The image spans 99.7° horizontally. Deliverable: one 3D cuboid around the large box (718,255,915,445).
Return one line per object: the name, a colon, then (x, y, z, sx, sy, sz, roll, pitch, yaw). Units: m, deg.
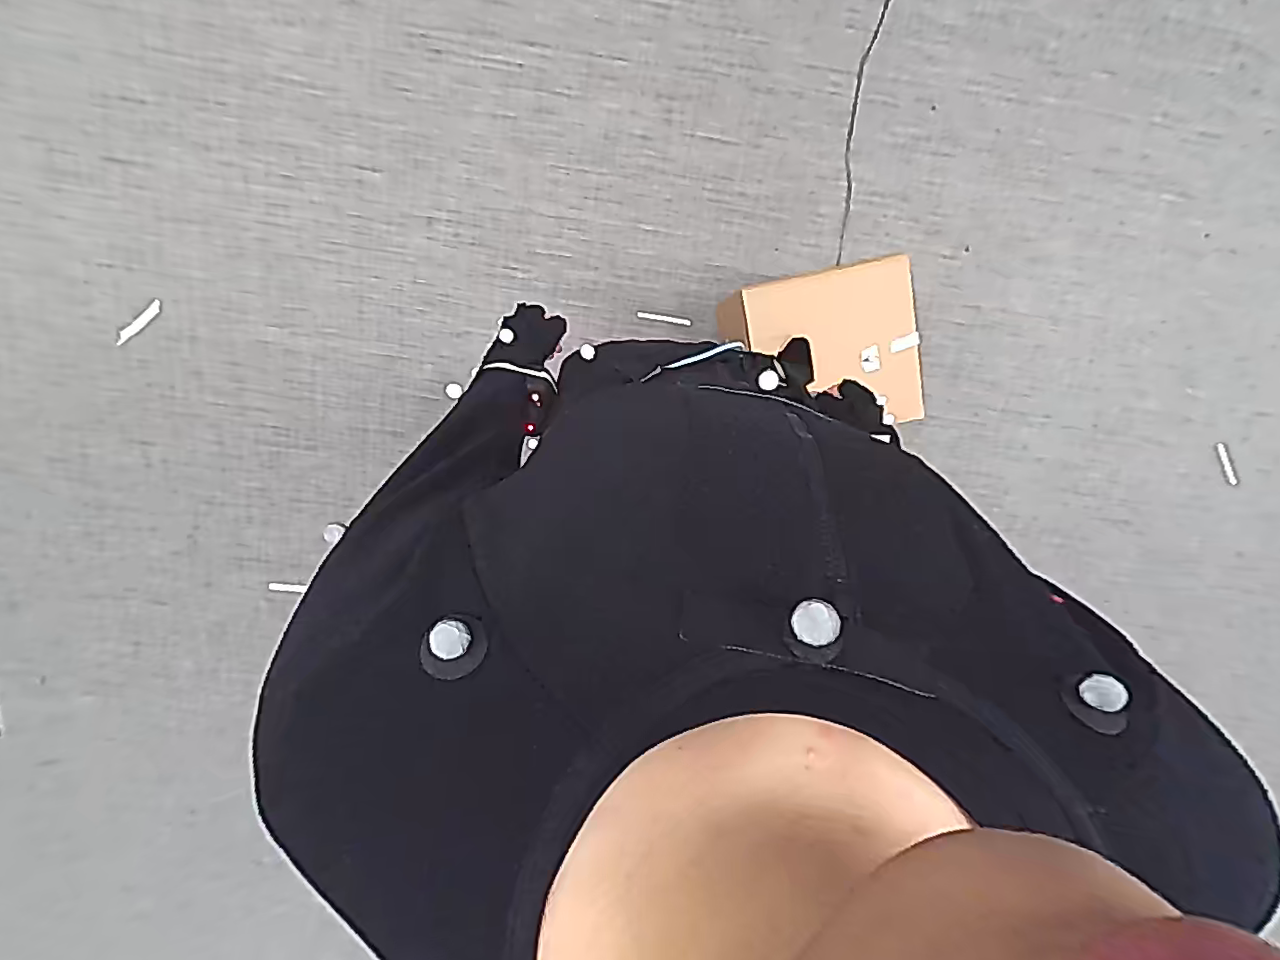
large box: (0.373, -0.287, 1.228, 0.320, 0.408, 0.320, -10, 103, 5)
